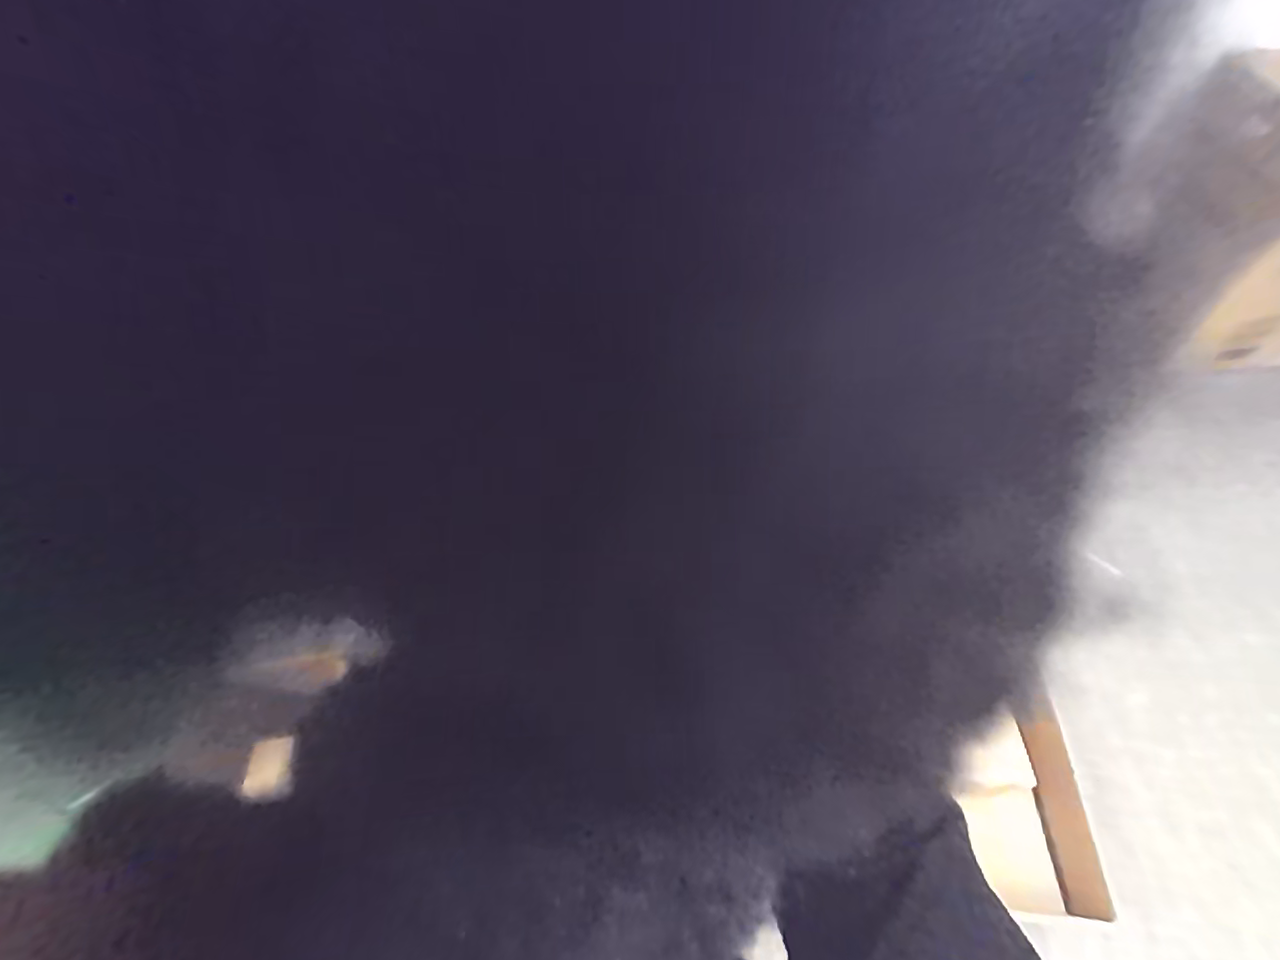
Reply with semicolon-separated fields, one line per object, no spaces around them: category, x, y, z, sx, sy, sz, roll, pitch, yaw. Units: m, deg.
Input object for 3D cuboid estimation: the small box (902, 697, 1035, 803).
small box;0.689;0.581;1.162;0.168;0.176;0.179;0;54;4
